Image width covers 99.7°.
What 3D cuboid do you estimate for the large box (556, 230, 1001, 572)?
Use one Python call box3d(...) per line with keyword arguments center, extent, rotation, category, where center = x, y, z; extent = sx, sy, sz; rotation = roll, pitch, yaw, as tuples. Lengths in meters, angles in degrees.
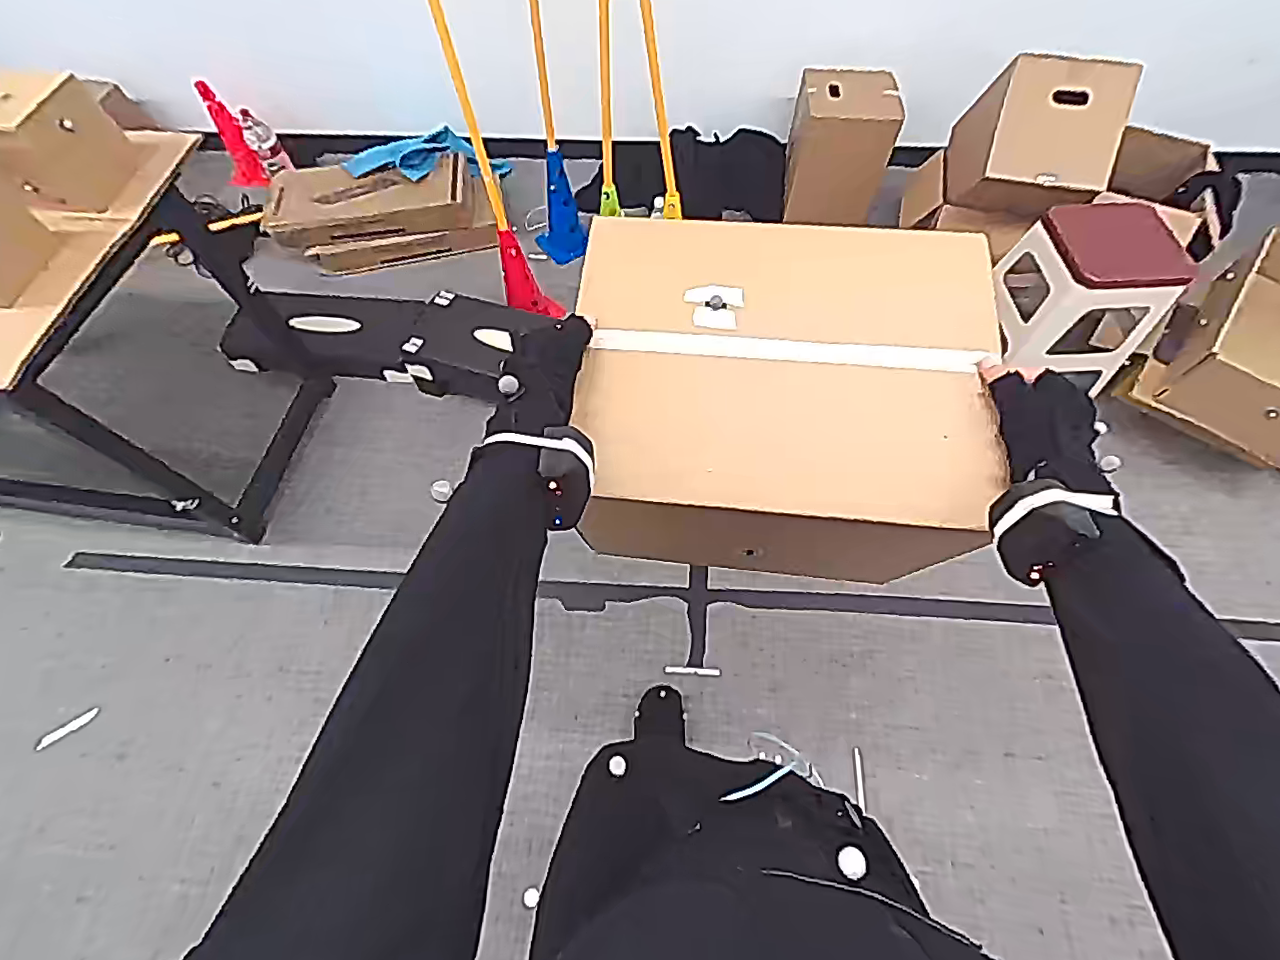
box3d(center=(0.146, -0.073, 0.674), extent=(0.408, 0.320, 0.320), rotation=(5, 71, 7), category="large box")
